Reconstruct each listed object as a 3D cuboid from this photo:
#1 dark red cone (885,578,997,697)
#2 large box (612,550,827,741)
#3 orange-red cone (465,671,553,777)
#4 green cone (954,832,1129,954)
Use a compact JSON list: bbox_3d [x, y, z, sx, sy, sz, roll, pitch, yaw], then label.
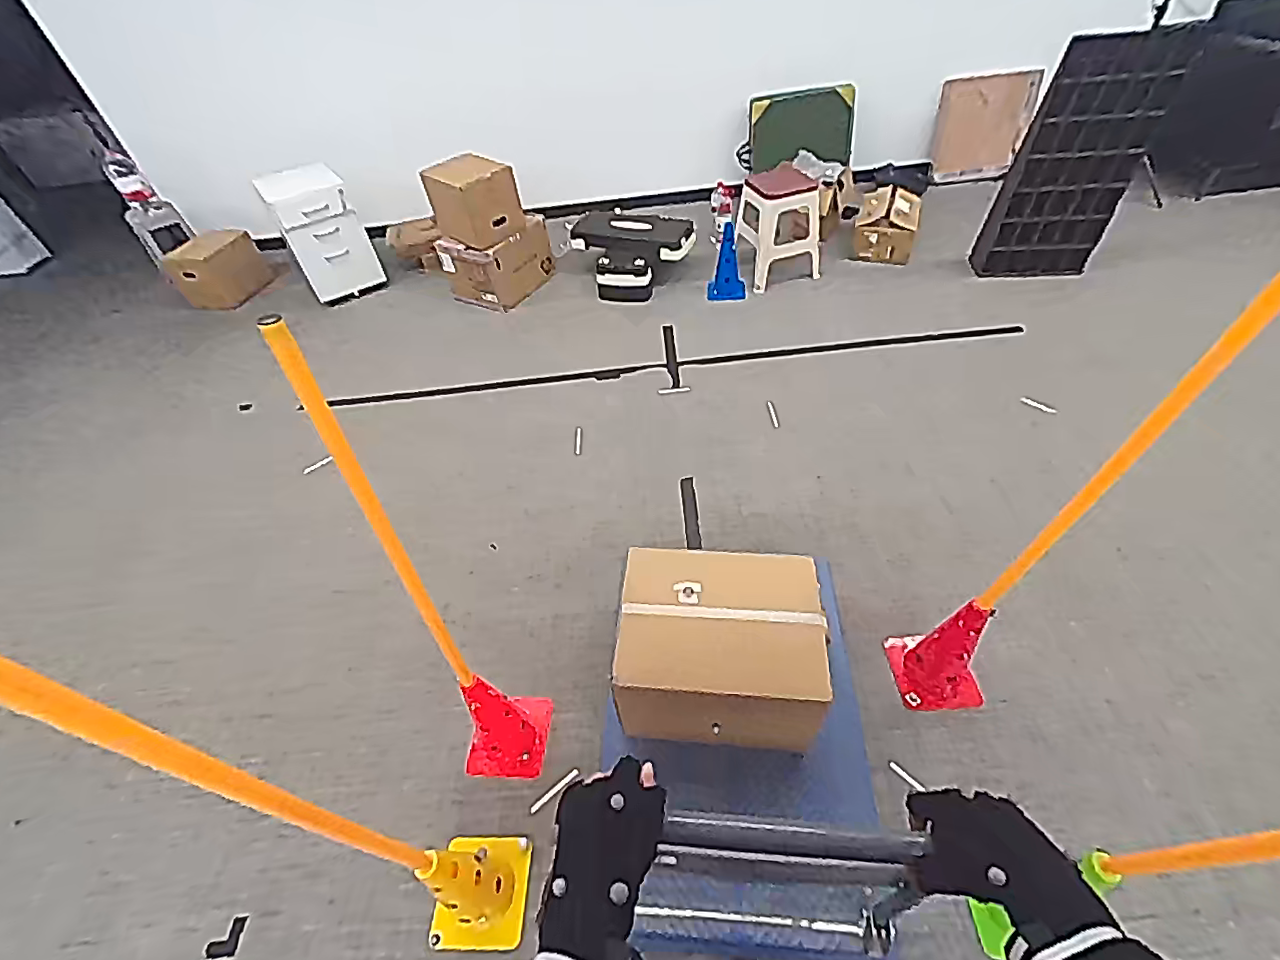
[{"bbox_3d":[0.765,0.364,1.313,0.201,0.394,0.202,-4,47,1],"label":"dark red cone"},{"bbox_3d":[0.170,0.371,1.206,0.408,0.320,0.320,1,49,7],"label":"large box"},{"bbox_3d":[-0.353,0.554,1.310,0.198,0.360,0.199,0,46,7],"label":"orange-red cone"},{"bbox_3d":[0.769,0.731,0.994,0.202,0.368,0.200,-2,47,4],"label":"green cone"}]
